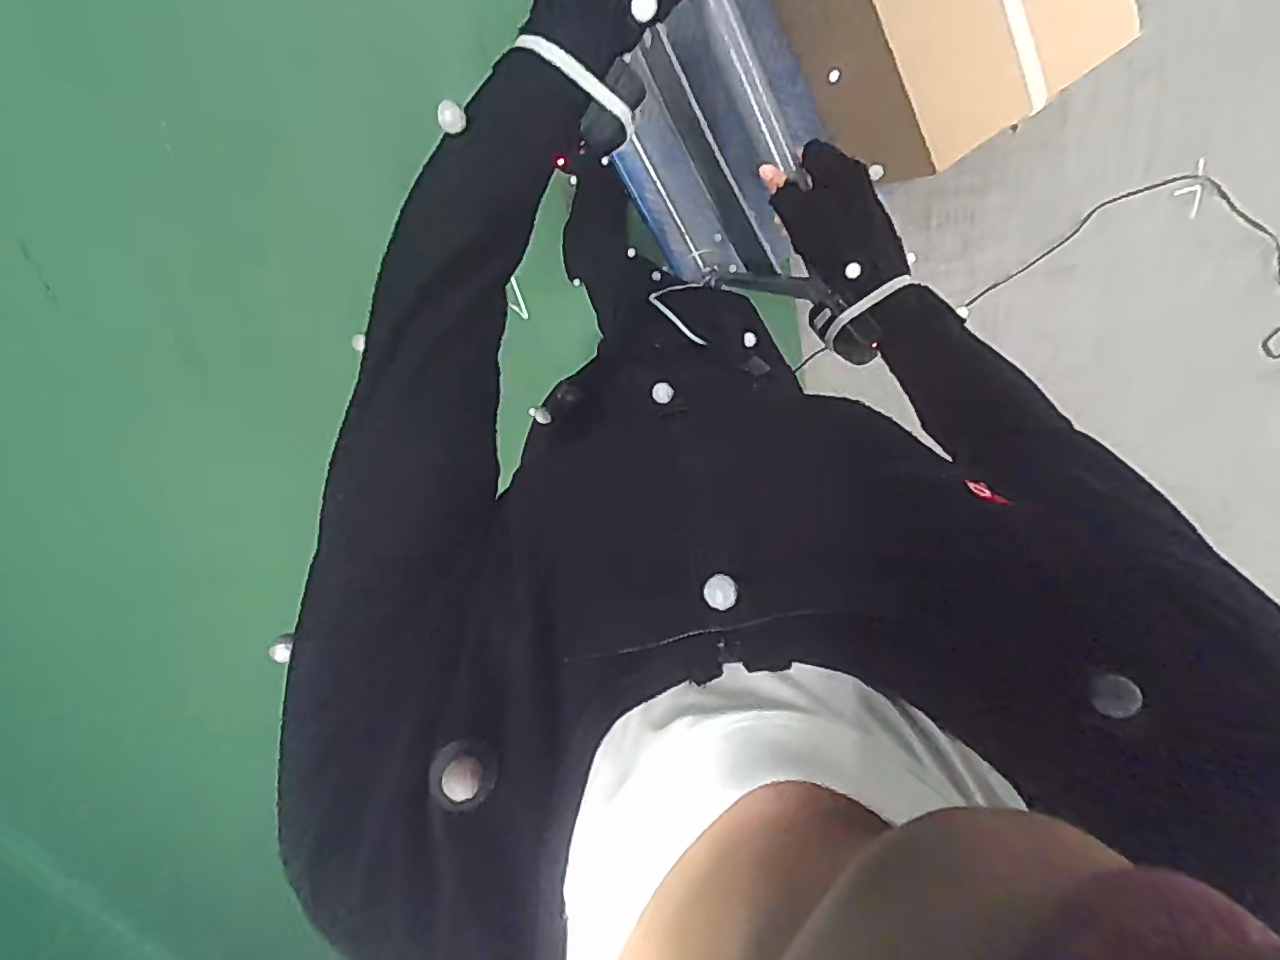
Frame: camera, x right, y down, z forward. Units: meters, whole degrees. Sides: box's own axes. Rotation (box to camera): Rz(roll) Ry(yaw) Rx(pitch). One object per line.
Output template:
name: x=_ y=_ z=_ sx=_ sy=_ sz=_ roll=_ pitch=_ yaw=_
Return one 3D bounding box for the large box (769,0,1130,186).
large box: x=0.448 y=-0.757 z=0.856 sx=0.320 sy=0.320 sz=0.408 roll=-32 pitch=111 yaw=10
